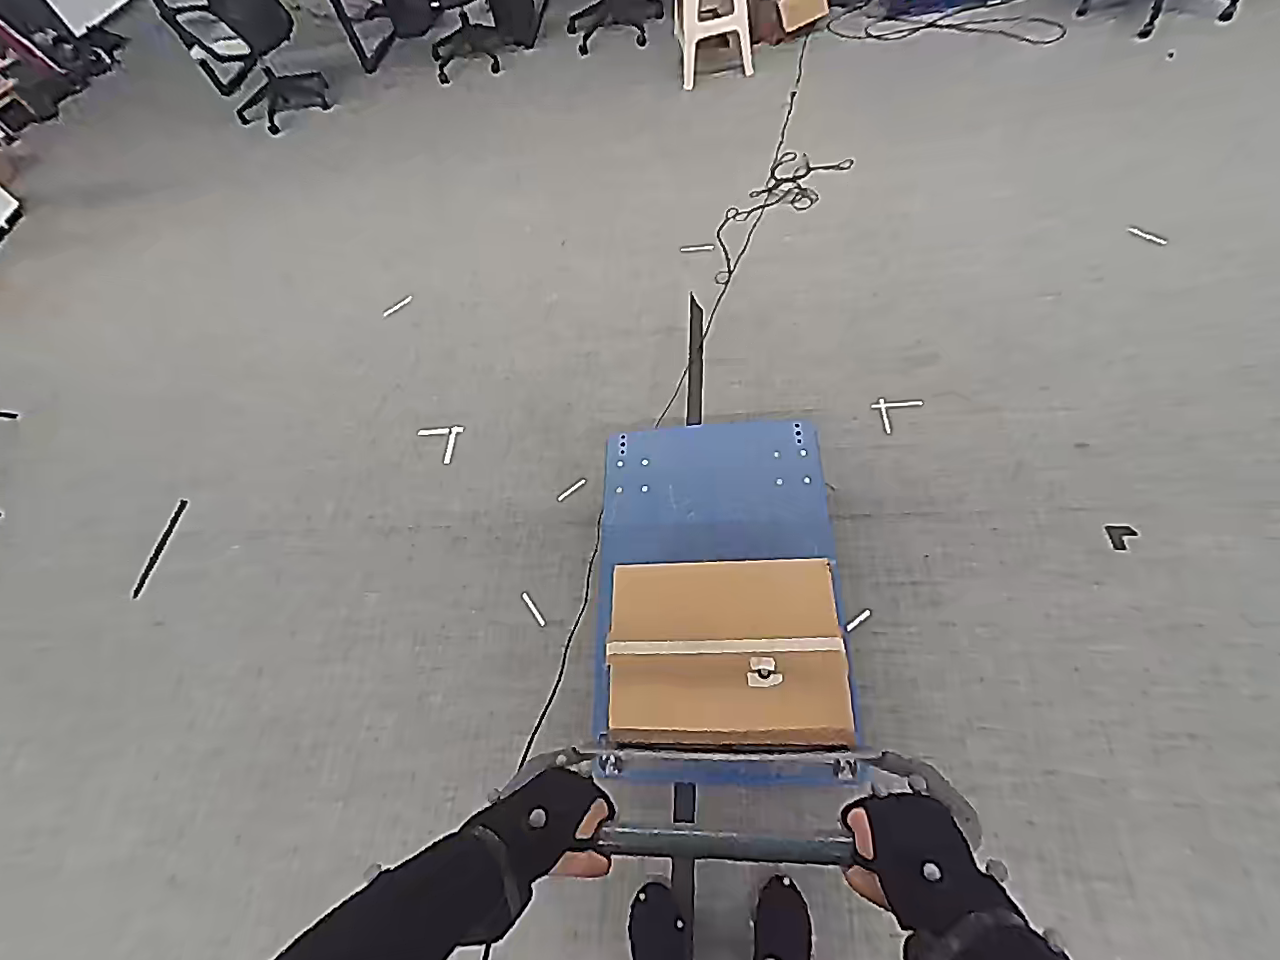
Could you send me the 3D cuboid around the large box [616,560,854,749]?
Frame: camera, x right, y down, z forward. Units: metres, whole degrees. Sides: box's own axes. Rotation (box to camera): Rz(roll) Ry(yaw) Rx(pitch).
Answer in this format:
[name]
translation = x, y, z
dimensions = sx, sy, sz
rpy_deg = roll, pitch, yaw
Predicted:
[large box]
translation = 0.171, 0.368, 1.100
dimensions = 0.408, 0.320, 0.320
rpy_deg = -4, 63, 7
